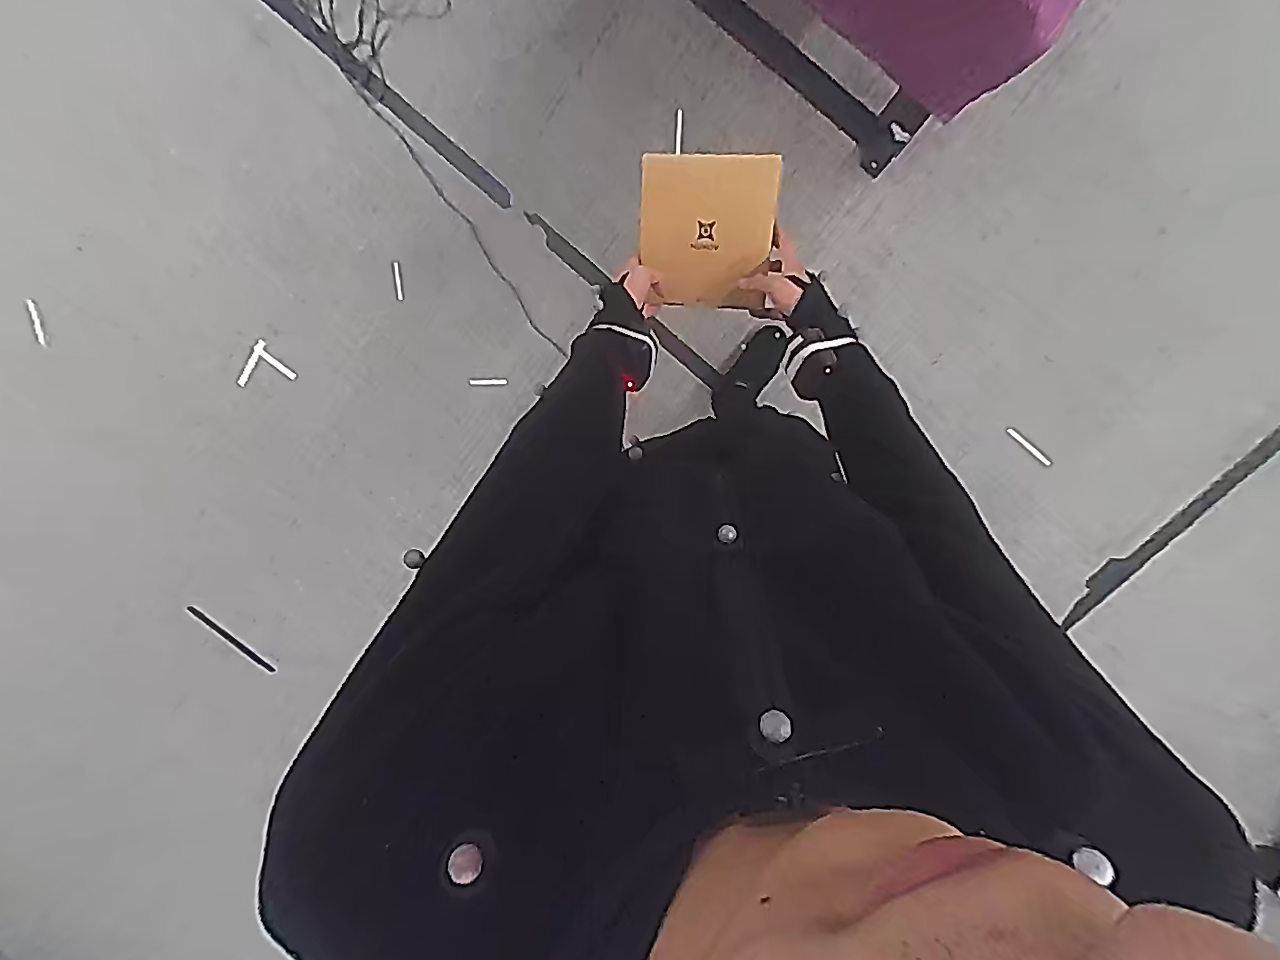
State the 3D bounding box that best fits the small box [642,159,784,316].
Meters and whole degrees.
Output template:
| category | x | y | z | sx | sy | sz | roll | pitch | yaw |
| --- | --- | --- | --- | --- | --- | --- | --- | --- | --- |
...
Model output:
| category | x | y | z | sx | sy | sz | roll | pitch | yaw |
| --- | --- | --- | --- | --- | --- | --- | --- | --- | --- |
| small box | 0.102 | -0.336 | 0.747 | 0.168 | 0.176 | 0.179 | 7 | 119 | 11 |
